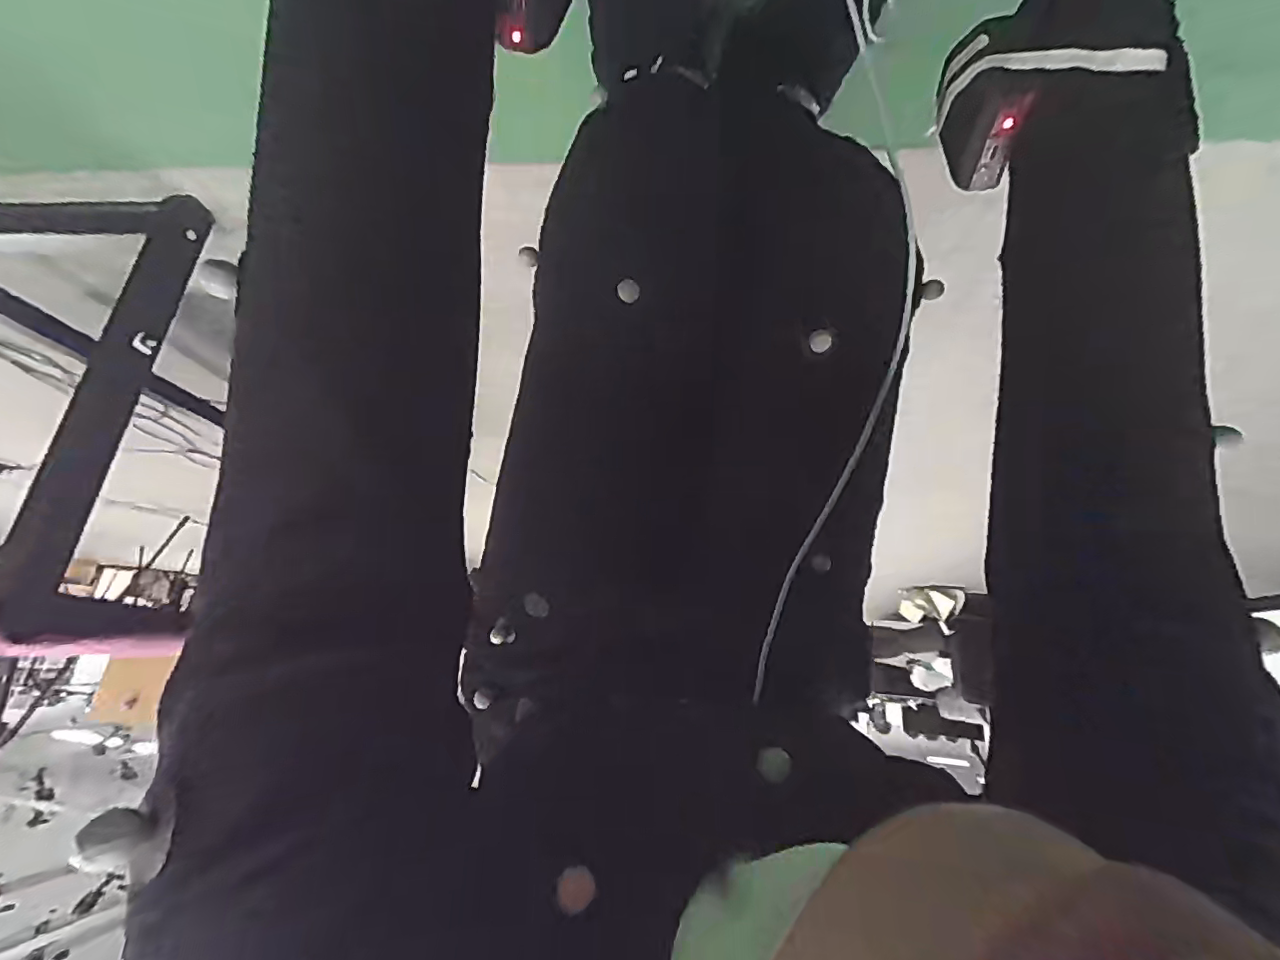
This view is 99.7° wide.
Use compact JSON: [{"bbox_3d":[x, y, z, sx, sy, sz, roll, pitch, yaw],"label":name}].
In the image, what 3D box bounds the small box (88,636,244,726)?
[{"bbox_3d":[-1.042,0.443,1.206,0.179,0.176,0.168,4,161,6],"label":"small box"}]
